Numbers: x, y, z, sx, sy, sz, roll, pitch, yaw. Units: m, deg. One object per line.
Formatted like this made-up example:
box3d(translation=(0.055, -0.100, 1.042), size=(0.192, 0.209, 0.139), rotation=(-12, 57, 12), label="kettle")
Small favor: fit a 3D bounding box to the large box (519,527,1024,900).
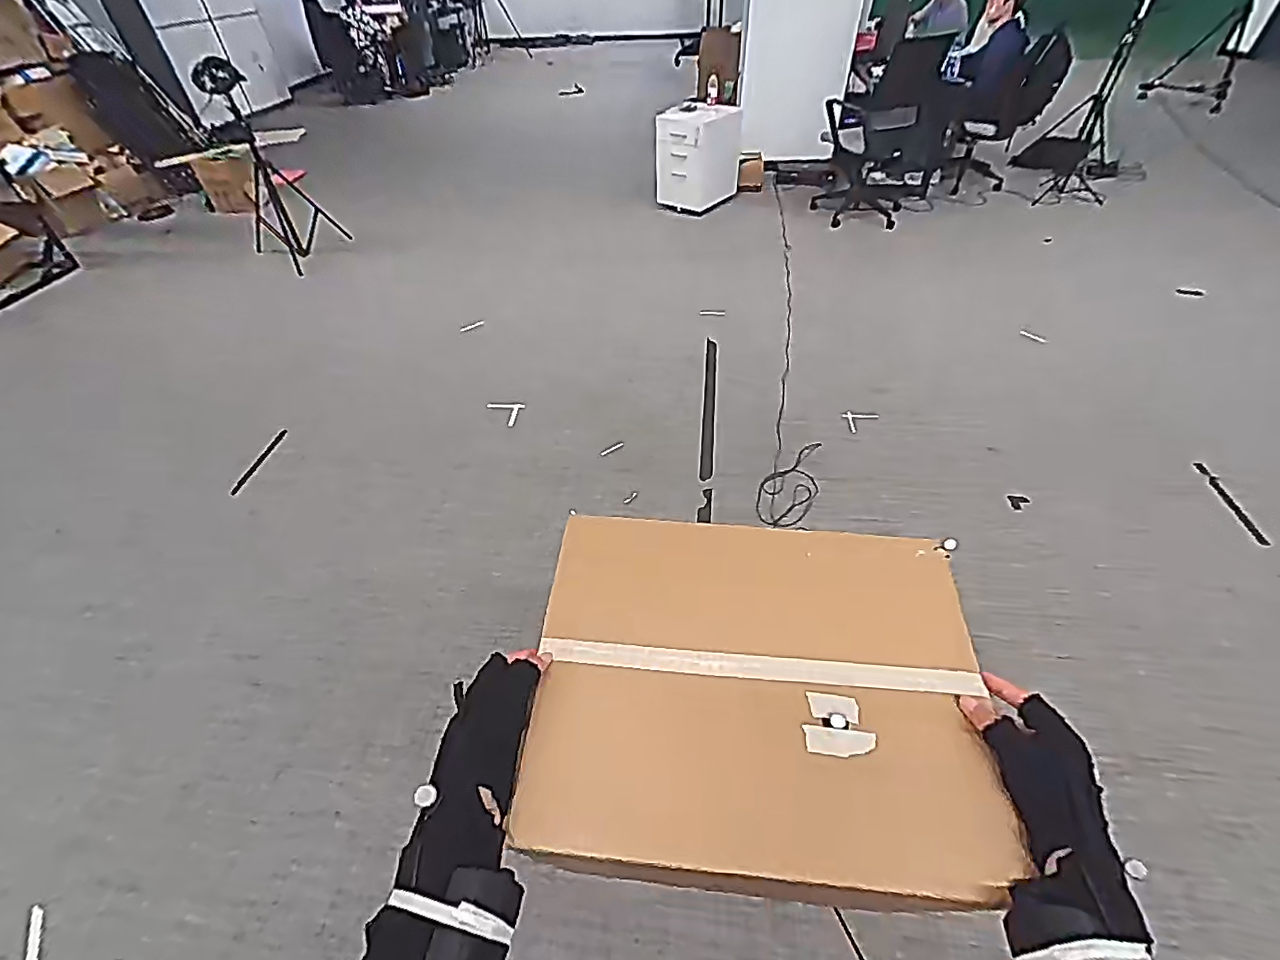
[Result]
box3d(translation=(0.111, 0.275, 0.630), size=(0.408, 0.320, 0.320), rotation=(4, 53, 4), label="large box")
